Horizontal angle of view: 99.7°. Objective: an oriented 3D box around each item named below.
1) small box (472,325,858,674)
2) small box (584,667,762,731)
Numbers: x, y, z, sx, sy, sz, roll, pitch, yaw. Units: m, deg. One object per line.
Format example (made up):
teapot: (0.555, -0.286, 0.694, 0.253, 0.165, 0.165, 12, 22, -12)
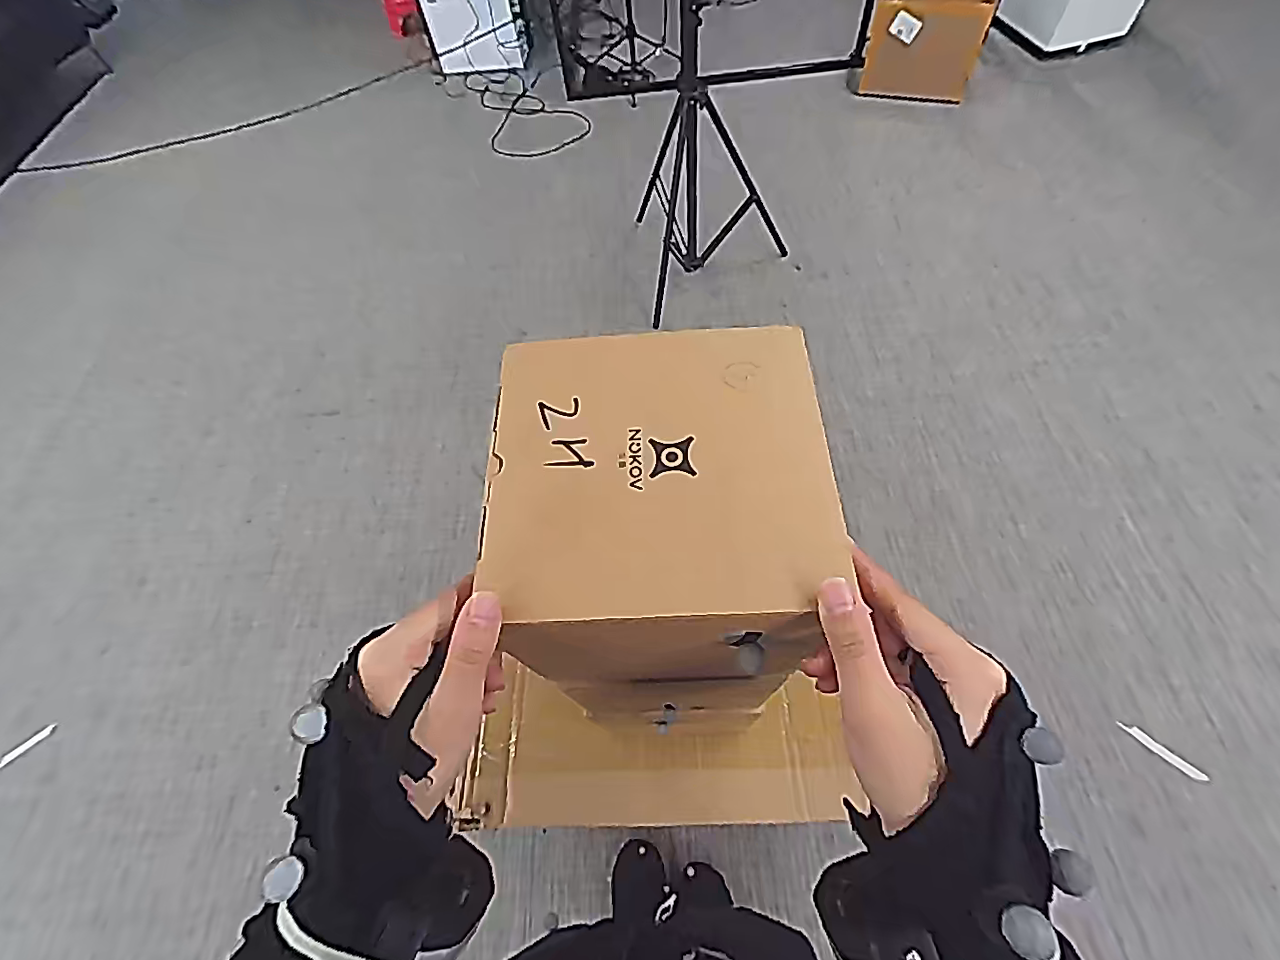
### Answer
small box: (0.014, 0.025, 0.347, 0.179, 0.176, 0.168, -3, 61, 3)
small box: (0.038, 0.194, 0.629, 0.179, 0.176, 0.168, -3, 60, 3)
